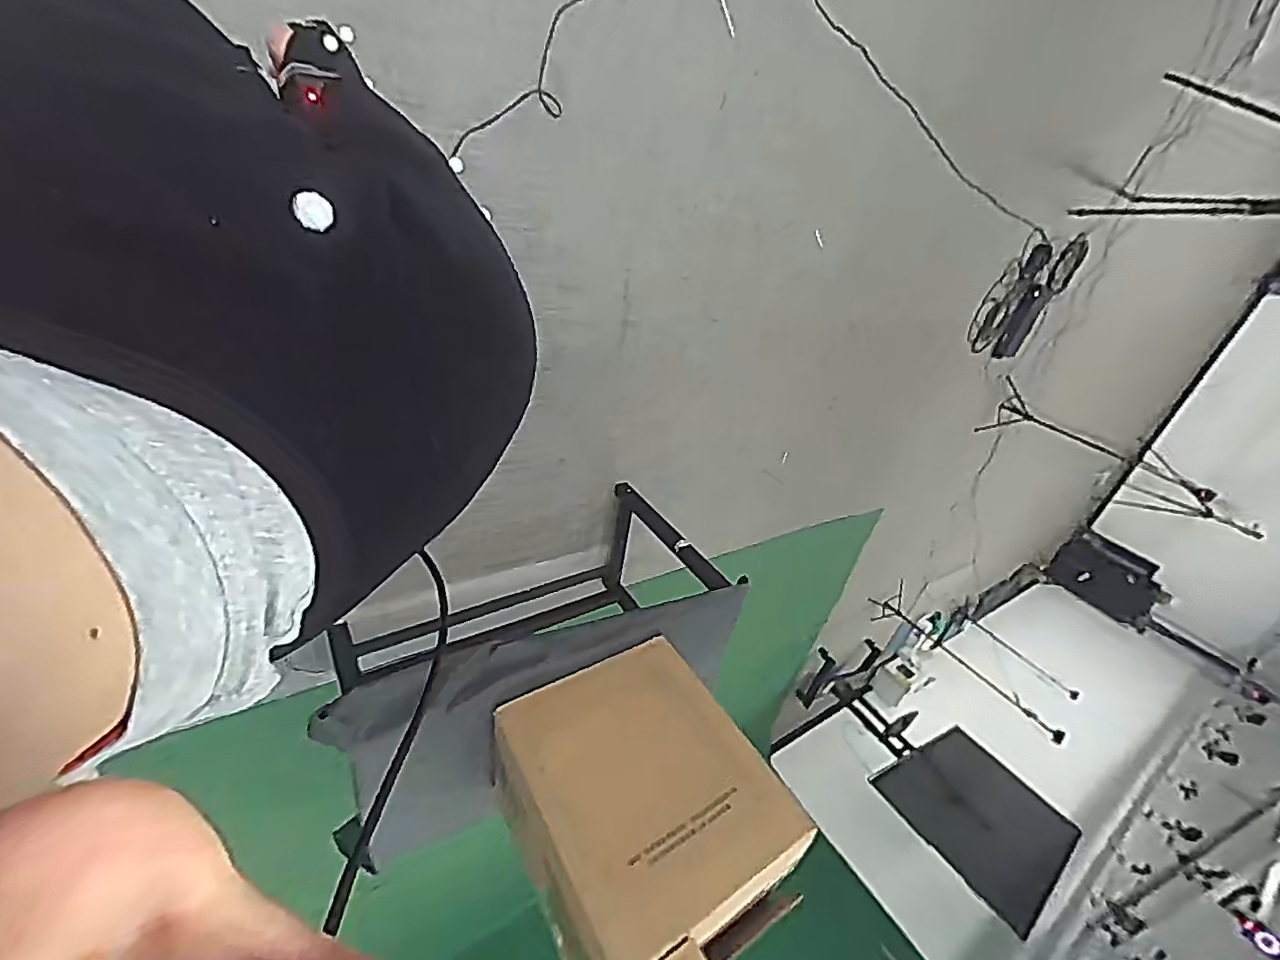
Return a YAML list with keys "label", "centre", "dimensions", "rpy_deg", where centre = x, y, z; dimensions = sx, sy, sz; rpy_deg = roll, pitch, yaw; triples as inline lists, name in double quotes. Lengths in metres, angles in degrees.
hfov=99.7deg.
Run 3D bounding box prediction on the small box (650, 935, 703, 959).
- label: "small box"
  centre: [0.060, 1.002, 1.000]
  dimensions: [0.168, 0.176, 0.179]
  rpy_deg: [-14, 128, -31]
